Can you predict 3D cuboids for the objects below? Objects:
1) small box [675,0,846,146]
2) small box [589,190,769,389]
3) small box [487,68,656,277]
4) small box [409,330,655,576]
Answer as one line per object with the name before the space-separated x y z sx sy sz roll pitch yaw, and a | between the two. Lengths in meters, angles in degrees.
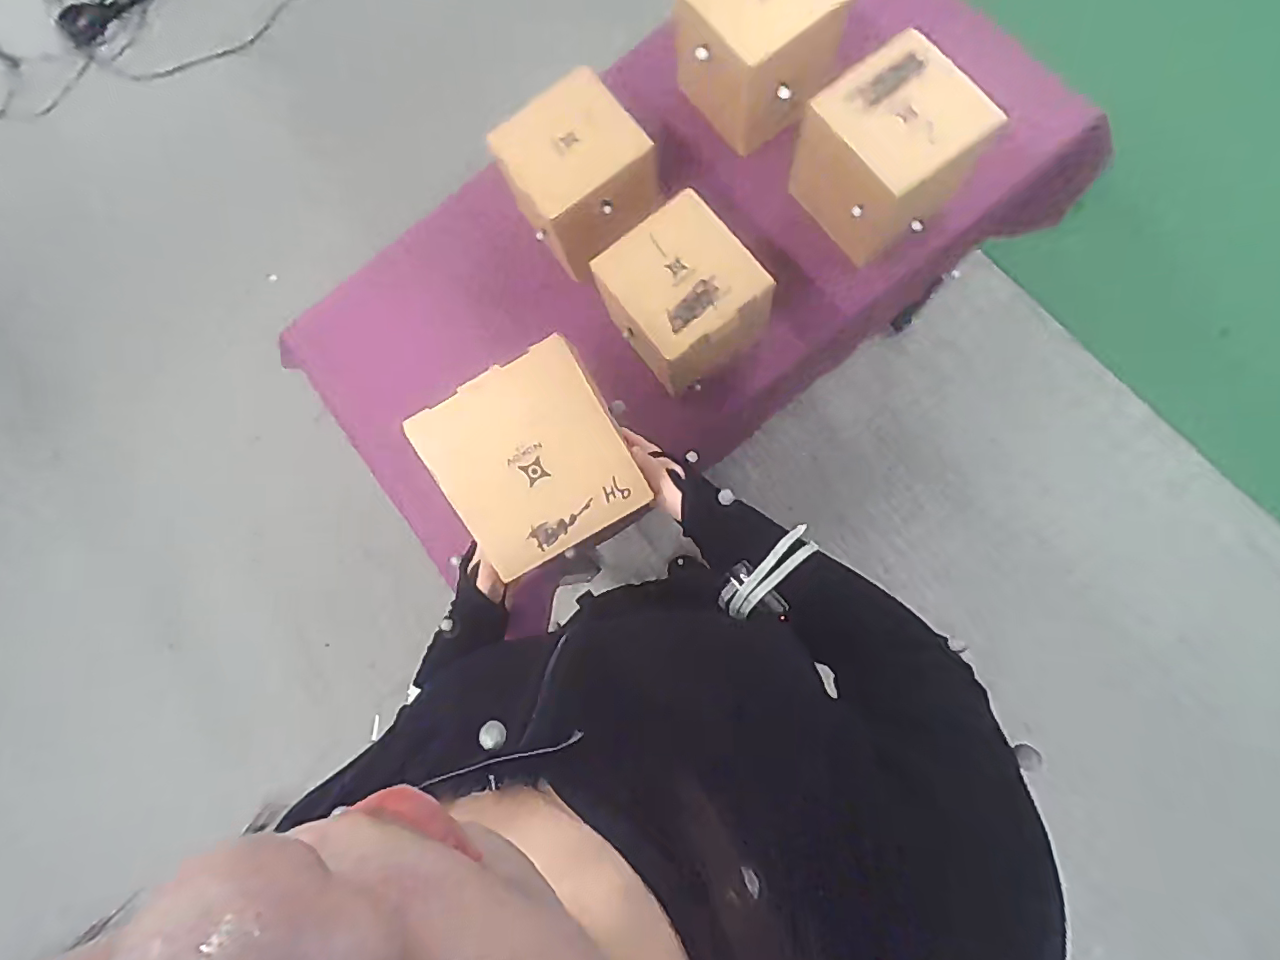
small box | 0.171 -0.642 0.802 0.168 0.176 0.179 -36 78 2
small box | 0.058 -0.247 0.755 0.168 0.176 0.179 -37 77 1
small box | -0.088 -0.442 0.807 0.179 0.176 0.168 -36 79 1
small box | -0.100 -0.033 0.567 0.168 0.176 0.179 -29 100 3
